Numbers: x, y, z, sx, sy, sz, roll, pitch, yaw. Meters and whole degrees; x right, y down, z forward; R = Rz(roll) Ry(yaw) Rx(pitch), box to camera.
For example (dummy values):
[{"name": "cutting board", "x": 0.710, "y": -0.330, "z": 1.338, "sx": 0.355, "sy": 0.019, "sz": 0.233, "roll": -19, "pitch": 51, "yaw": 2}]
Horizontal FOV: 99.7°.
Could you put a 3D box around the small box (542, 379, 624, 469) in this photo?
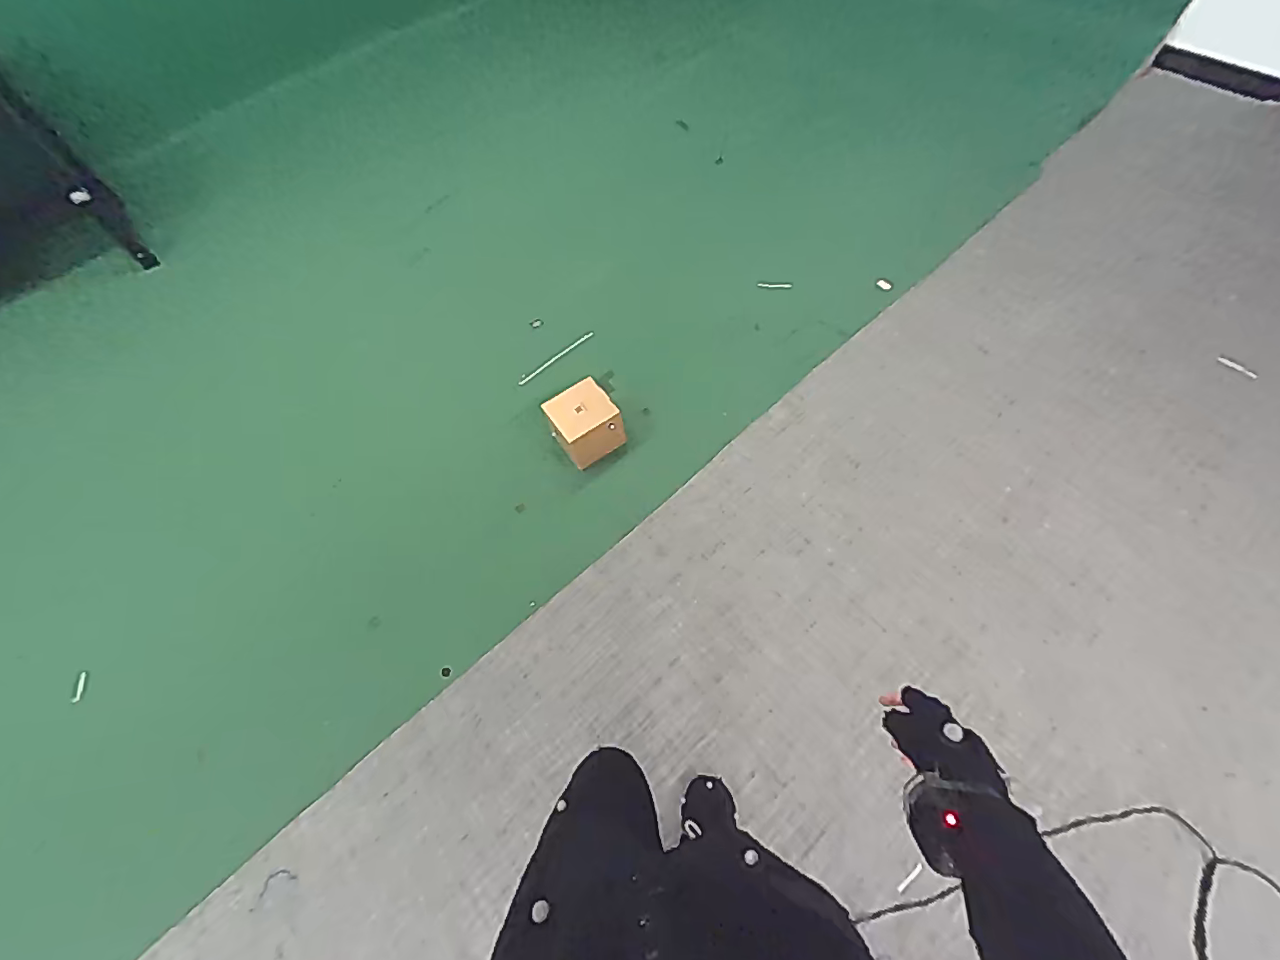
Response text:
[{"name": "small box", "x": -0.164, "y": -0.162, "z": 1.623, "sx": 0.179, "sy": 0.176, "sz": 0.168, "roll": -33, "pitch": 64, "yaw": -13}]
